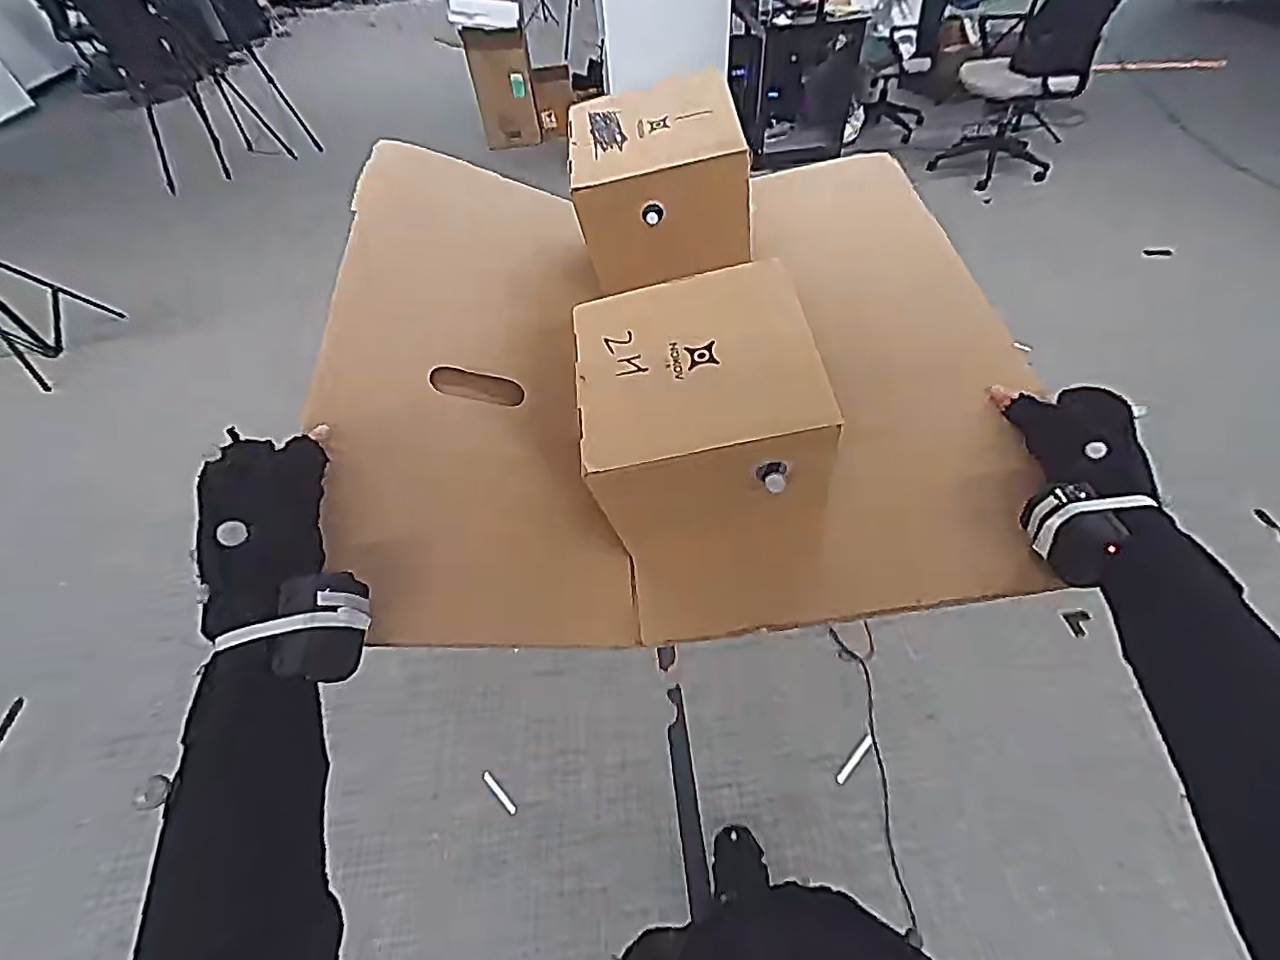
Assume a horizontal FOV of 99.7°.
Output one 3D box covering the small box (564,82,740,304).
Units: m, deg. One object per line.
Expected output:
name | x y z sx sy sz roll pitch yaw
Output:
small box | 0.019 -0.319 0.638 0.179 0.176 0.168 -9 59 7

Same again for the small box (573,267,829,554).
small box | 0.051 -0.049 0.476 0.179 0.176 0.168 -11 59 8
